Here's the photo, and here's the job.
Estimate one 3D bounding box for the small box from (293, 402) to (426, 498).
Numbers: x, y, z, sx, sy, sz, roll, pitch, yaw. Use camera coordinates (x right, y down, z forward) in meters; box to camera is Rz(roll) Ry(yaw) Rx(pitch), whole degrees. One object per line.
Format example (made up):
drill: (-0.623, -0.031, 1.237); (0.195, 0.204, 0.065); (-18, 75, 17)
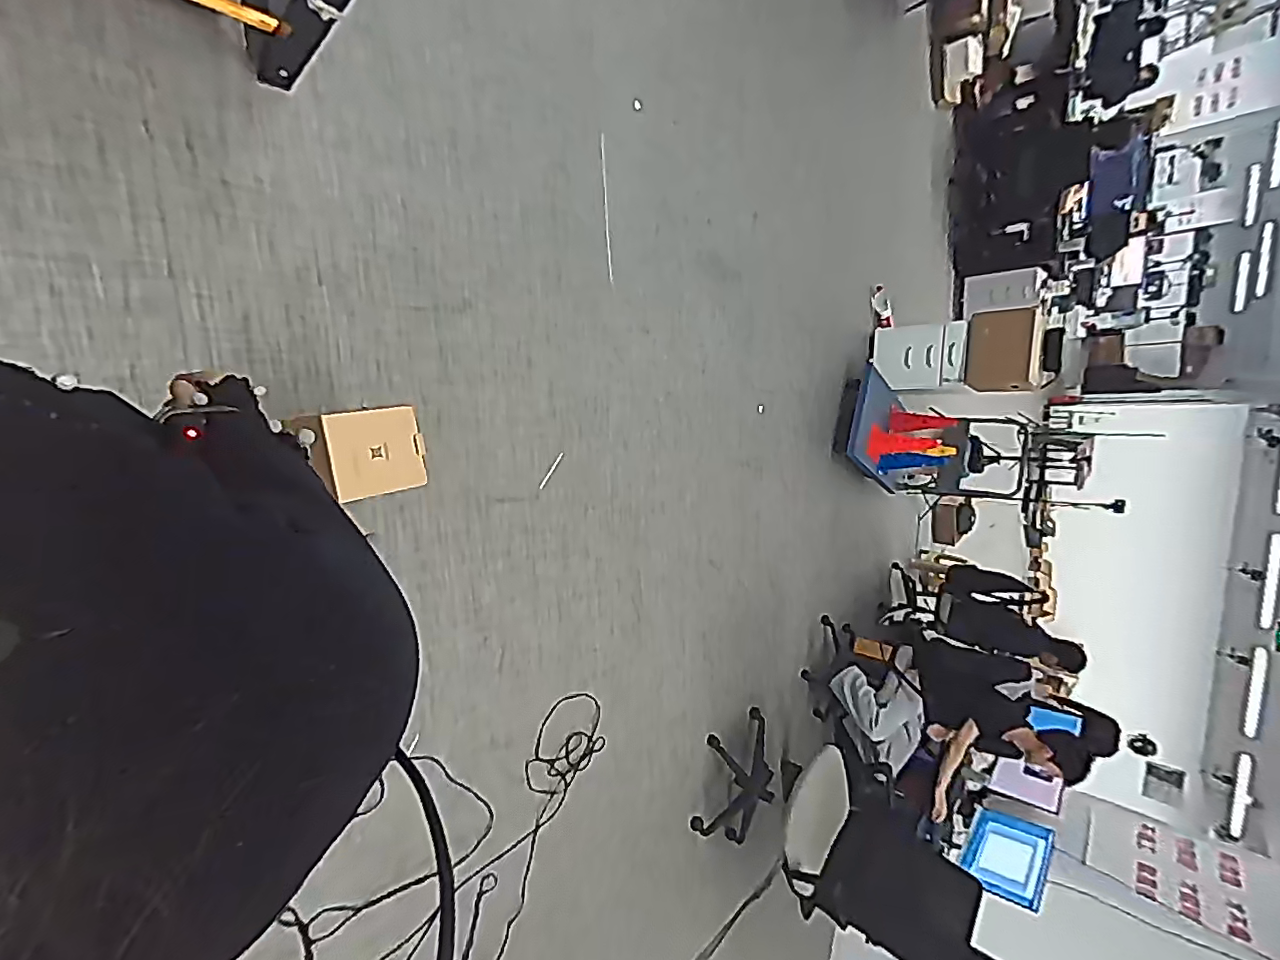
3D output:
small box: (-0.566, -0.068, 1.093); (0.179, 0.176, 0.168); (-18, 106, -44)

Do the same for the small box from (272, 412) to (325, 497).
small box: (-0.689, -0.068, 1.201); (0.168, 0.176, 0.179); (-18, 107, -45)
